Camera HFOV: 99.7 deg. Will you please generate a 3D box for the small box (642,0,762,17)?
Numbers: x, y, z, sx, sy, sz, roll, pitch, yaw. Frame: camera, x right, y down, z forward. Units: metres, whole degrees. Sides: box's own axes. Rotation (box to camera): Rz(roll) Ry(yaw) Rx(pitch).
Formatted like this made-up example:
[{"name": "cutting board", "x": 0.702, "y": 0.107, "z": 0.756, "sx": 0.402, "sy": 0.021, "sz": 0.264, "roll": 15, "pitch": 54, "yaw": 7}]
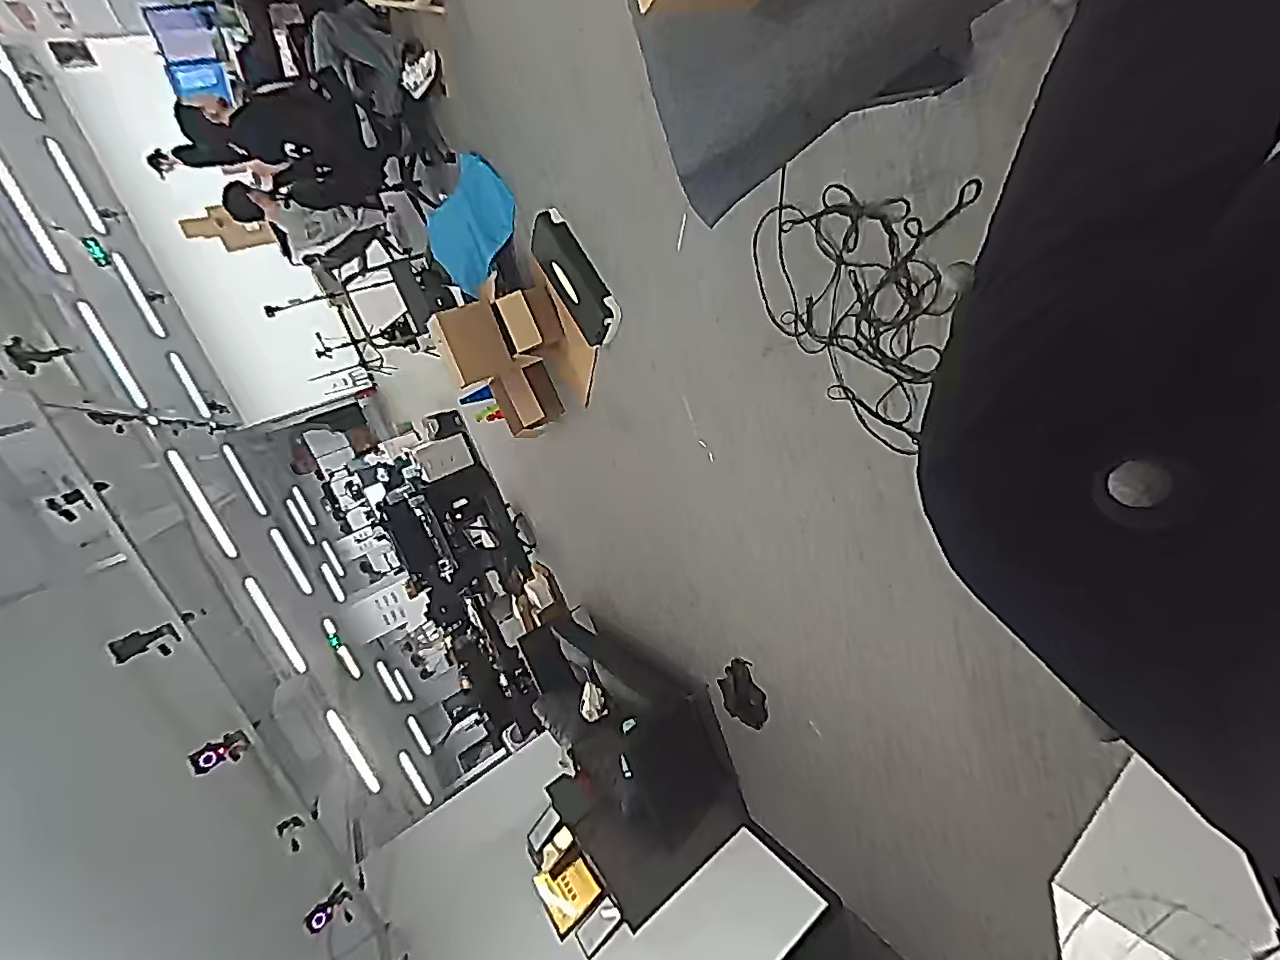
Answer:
[{"name": "small box", "x": 0.090, "y": -0.618, "z": 0.545, "sx": 0.179, "sy": 0.176, "sz": 0.168, "roll": 7, "pitch": 119, "yaw": 61}]
